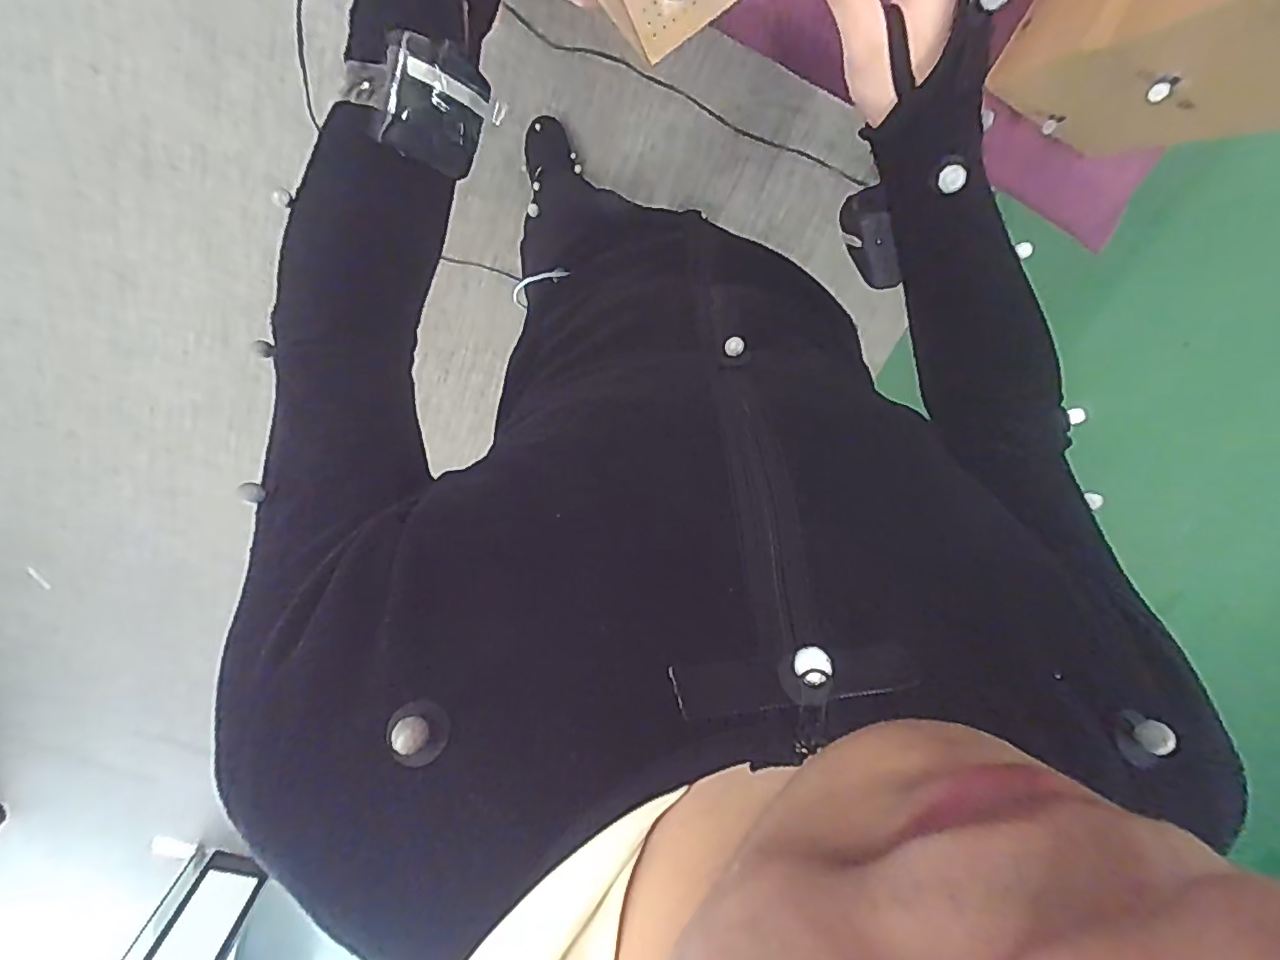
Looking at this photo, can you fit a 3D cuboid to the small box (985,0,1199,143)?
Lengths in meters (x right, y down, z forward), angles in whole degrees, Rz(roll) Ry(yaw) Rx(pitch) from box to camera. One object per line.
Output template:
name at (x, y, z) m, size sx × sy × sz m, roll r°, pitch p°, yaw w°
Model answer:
small box at (0.528, -0.487, 0.574) m, size 0.179 × 0.176 × 0.168 m, roll 24°, pitch 113°, yaw -11°
